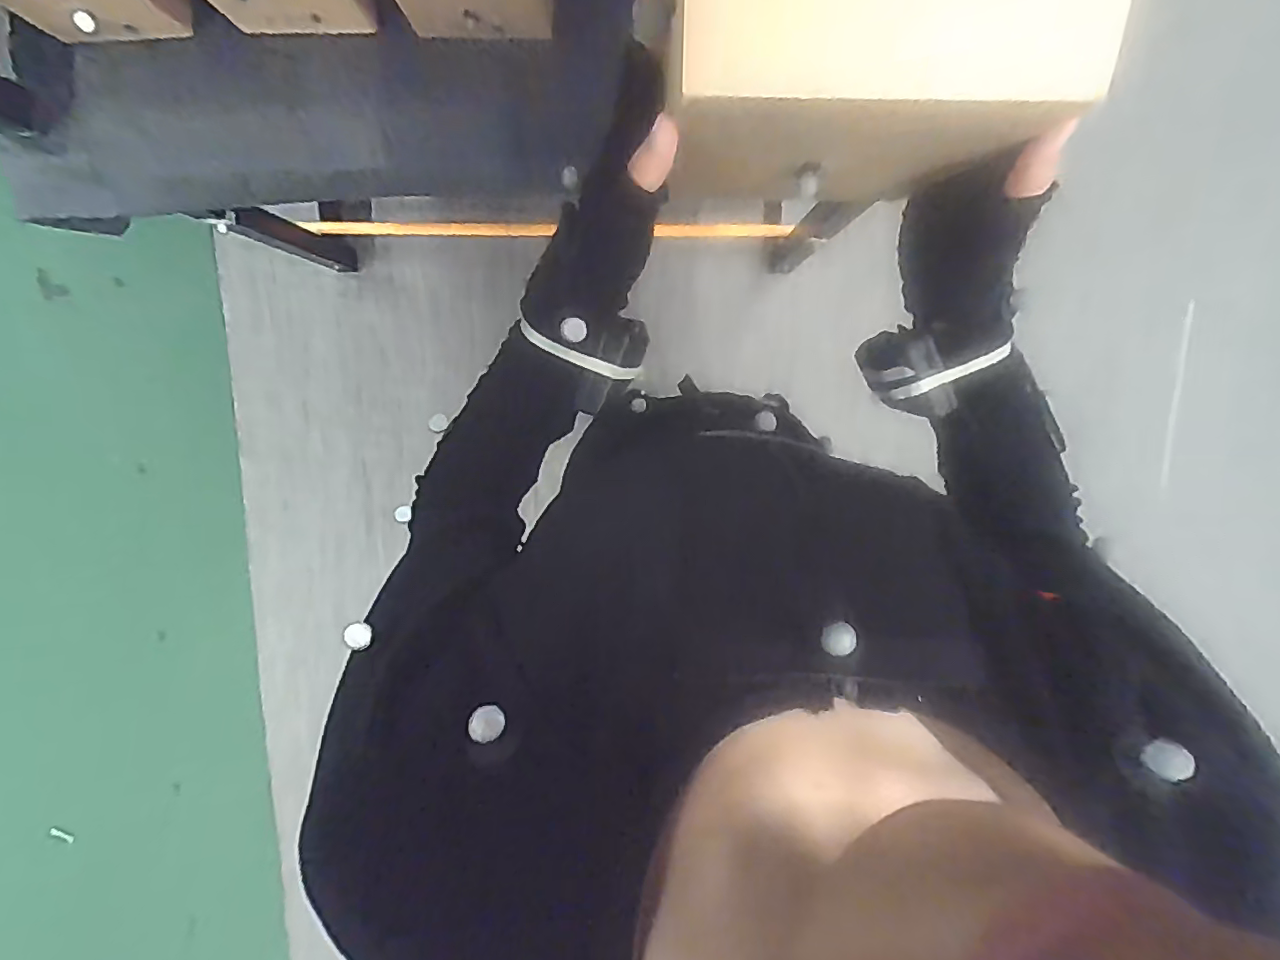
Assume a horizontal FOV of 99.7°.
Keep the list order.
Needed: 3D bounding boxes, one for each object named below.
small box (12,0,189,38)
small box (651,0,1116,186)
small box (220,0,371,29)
[{"bbox_3d":[-0.629,-0.614,0.567,0.168,0.176,0.179,-1,99,1],"label":"small box"},{"bbox_3d":[0.093,-0.254,0.257,0.168,0.176,0.179,1,106,-2],"label":"small box"},{"bbox_3d":[-0.402,-0.617,0.565,0.168,0.176,0.179,1,99,0],"label":"small box"}]
